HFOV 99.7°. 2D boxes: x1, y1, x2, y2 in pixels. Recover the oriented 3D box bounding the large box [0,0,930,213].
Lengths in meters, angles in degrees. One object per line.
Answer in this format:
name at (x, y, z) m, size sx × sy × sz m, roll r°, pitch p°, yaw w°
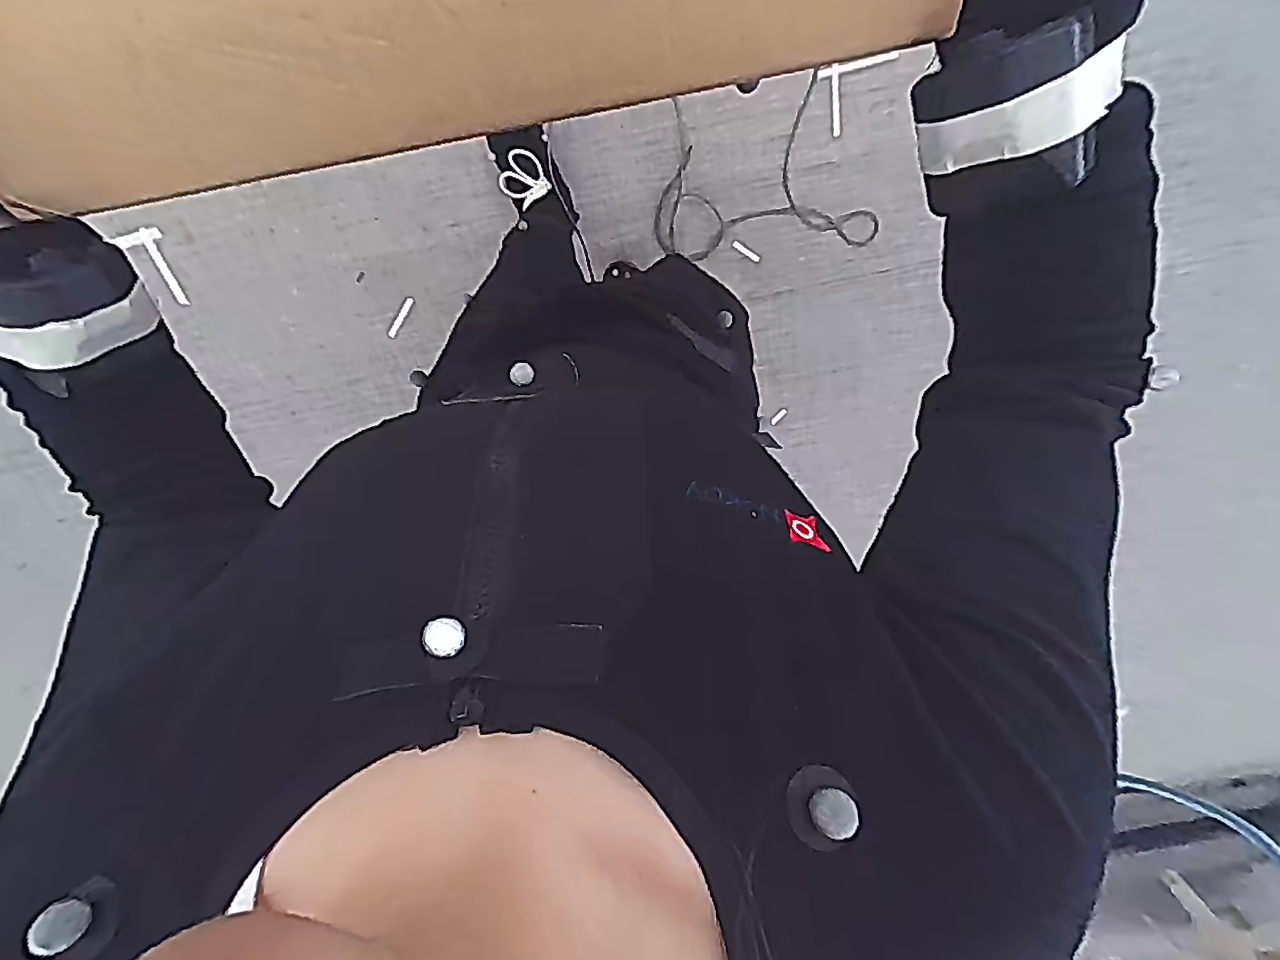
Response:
large box at (-0.109, -0.366, 0.227) m, size 0.408 × 0.320 × 0.320 m, roll -10°, pitch 136°, yaw 3°
